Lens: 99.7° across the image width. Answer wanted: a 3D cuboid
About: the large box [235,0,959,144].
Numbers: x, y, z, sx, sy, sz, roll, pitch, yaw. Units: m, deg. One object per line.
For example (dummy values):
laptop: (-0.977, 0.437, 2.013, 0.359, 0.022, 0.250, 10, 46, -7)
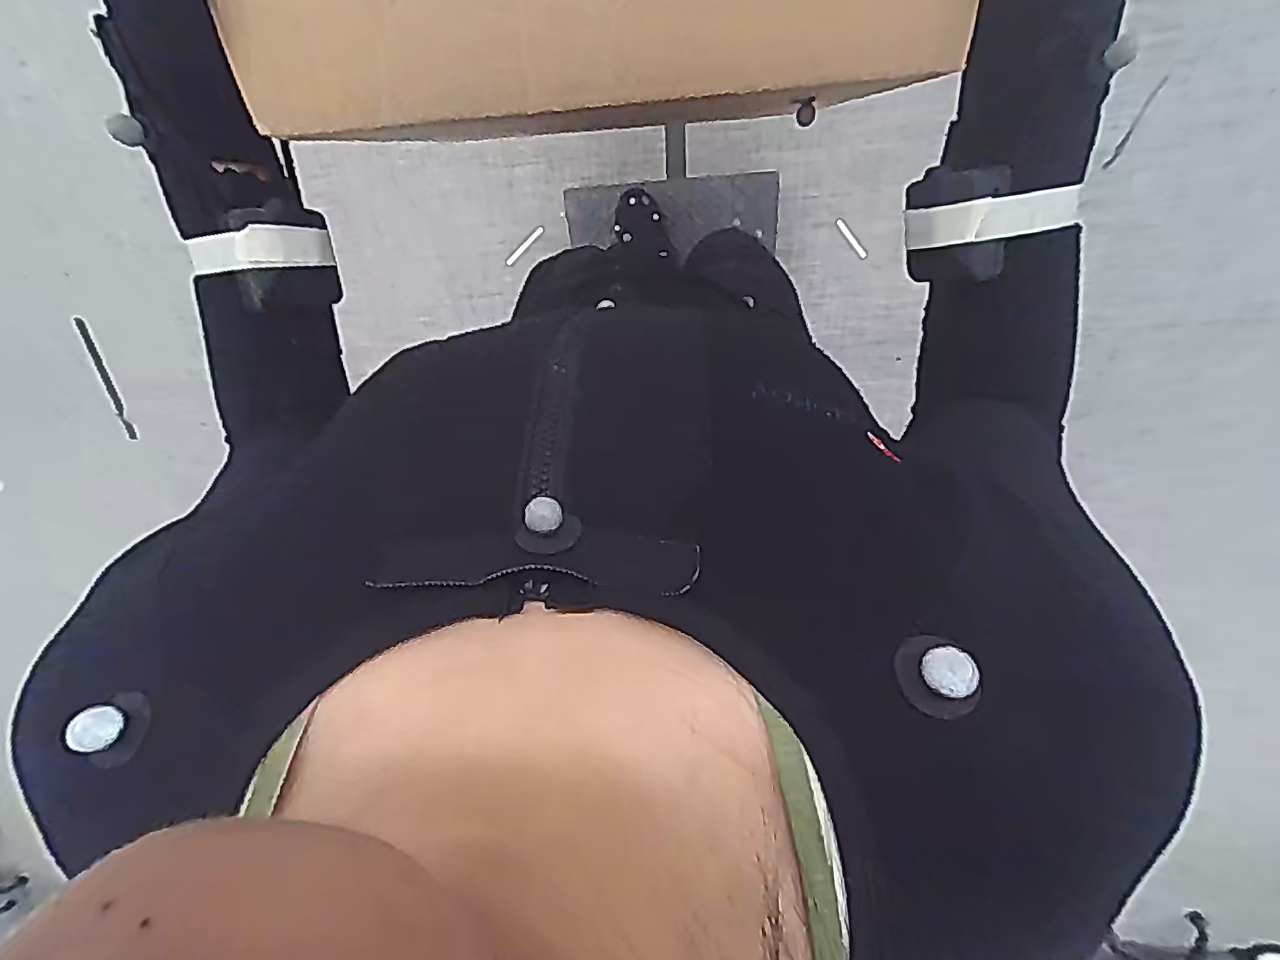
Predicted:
large box: (-0.028, -0.430, 0.367, 0.408, 0.320, 0.320, -2, 121, 5)
